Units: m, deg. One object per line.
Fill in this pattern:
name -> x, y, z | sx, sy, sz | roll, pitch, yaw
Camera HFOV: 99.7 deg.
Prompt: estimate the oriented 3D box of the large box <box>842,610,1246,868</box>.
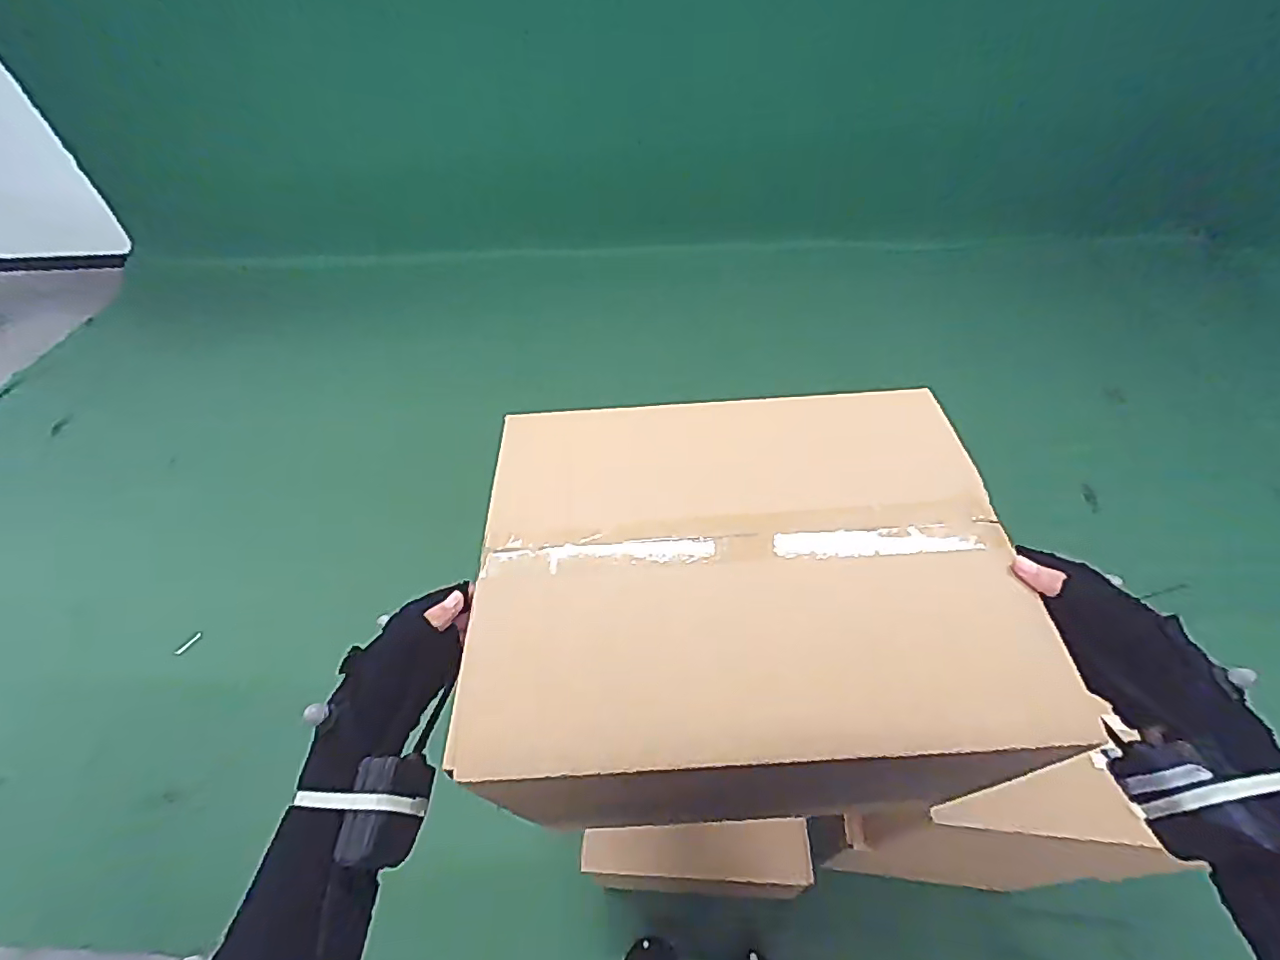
large box -> 0.604, 0.442, 0.920 | 0.408, 0.320, 0.320 | 3, 51, 5
